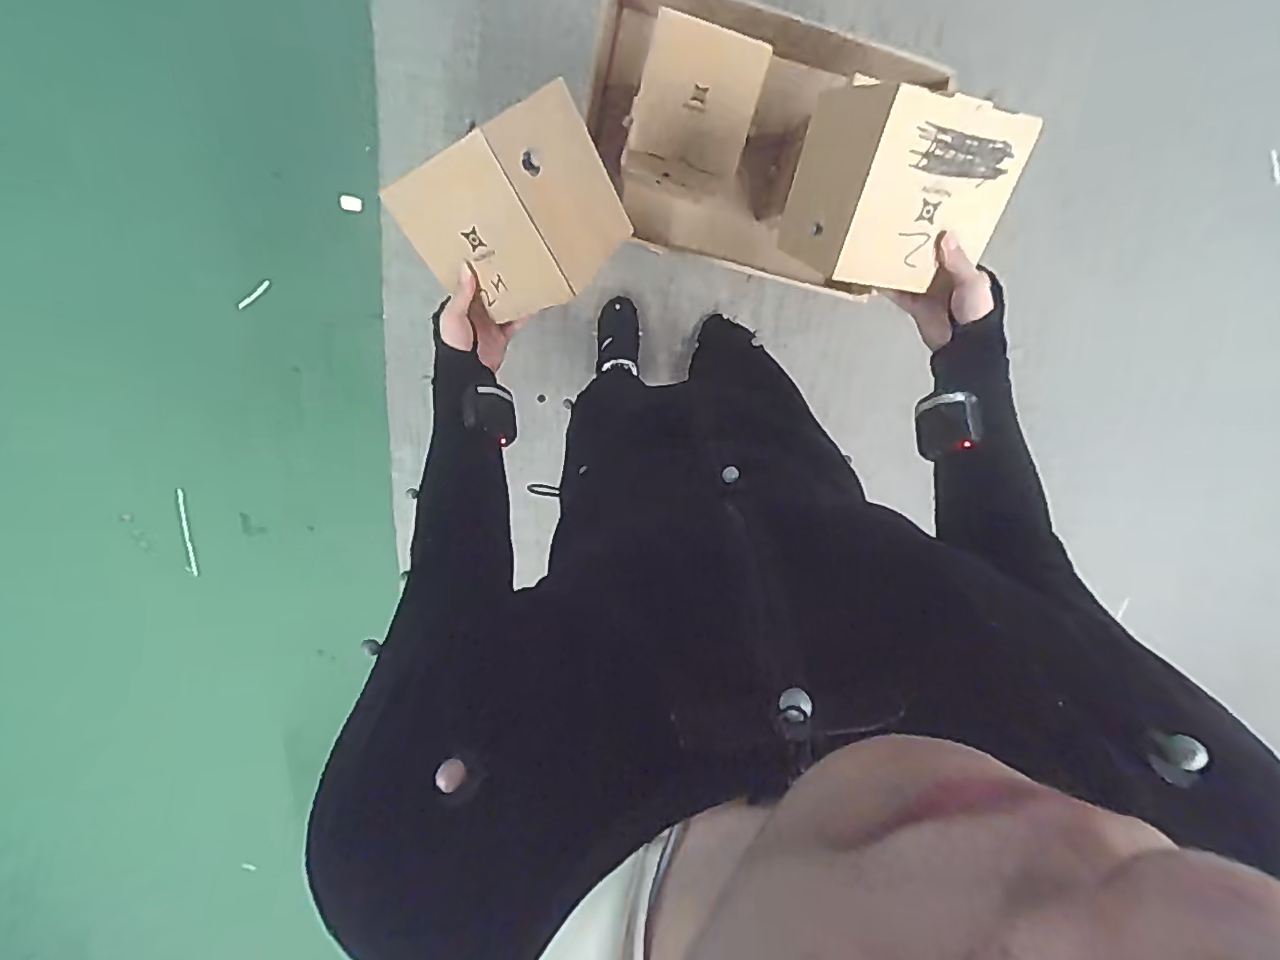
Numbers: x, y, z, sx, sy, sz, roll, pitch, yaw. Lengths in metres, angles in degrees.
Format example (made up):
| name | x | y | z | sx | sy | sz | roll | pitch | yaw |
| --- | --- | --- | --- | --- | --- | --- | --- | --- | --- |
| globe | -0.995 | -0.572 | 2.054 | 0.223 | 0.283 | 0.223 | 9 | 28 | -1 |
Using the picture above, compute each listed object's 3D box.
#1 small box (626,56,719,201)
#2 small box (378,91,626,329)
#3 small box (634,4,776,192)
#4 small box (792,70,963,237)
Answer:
| name | x | y | z | sx | sy | sz | roll | pitch | yaw |
| --- | --- | --- | --- | --- | --- | --- | --- | --- | --- |
| small box | 0.080 | -0.630 | 0.993 | 0.179 | 0.176 | 0.168 | 15 | 110 | -7 |
| small box | -0.145 | -0.307 | 0.618 | 0.168 | 0.176 | 0.179 | -4 | 134 | 36 |
| small box | 0.087 | -0.573 | 0.839 | 0.168 | 0.176 | 0.179 | 14 | 110 | -7 |
| small box | 0.362 | -0.504 | 0.867 | 0.168 | 0.176 | 0.179 | 14 | 109 | -7 |
